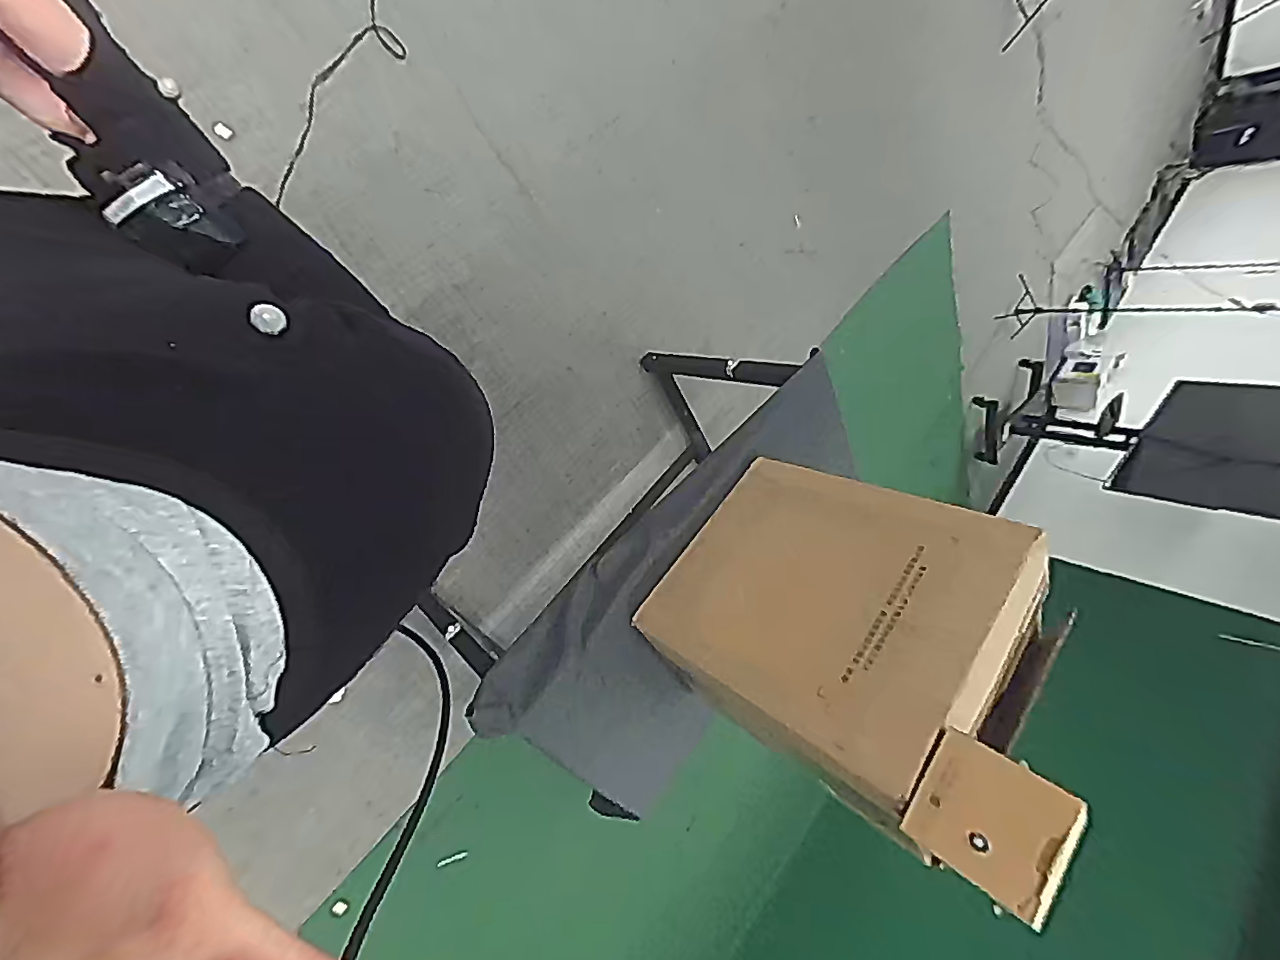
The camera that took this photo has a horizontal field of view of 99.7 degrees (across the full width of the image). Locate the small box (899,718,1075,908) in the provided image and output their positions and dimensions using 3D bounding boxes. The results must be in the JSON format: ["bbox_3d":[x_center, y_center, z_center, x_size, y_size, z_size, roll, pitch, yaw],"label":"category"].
[{"bbox_3d":[0.507,0.481,0.797,0.168,0.176,0.179,-54,132,-12],"label":"small box"}]
